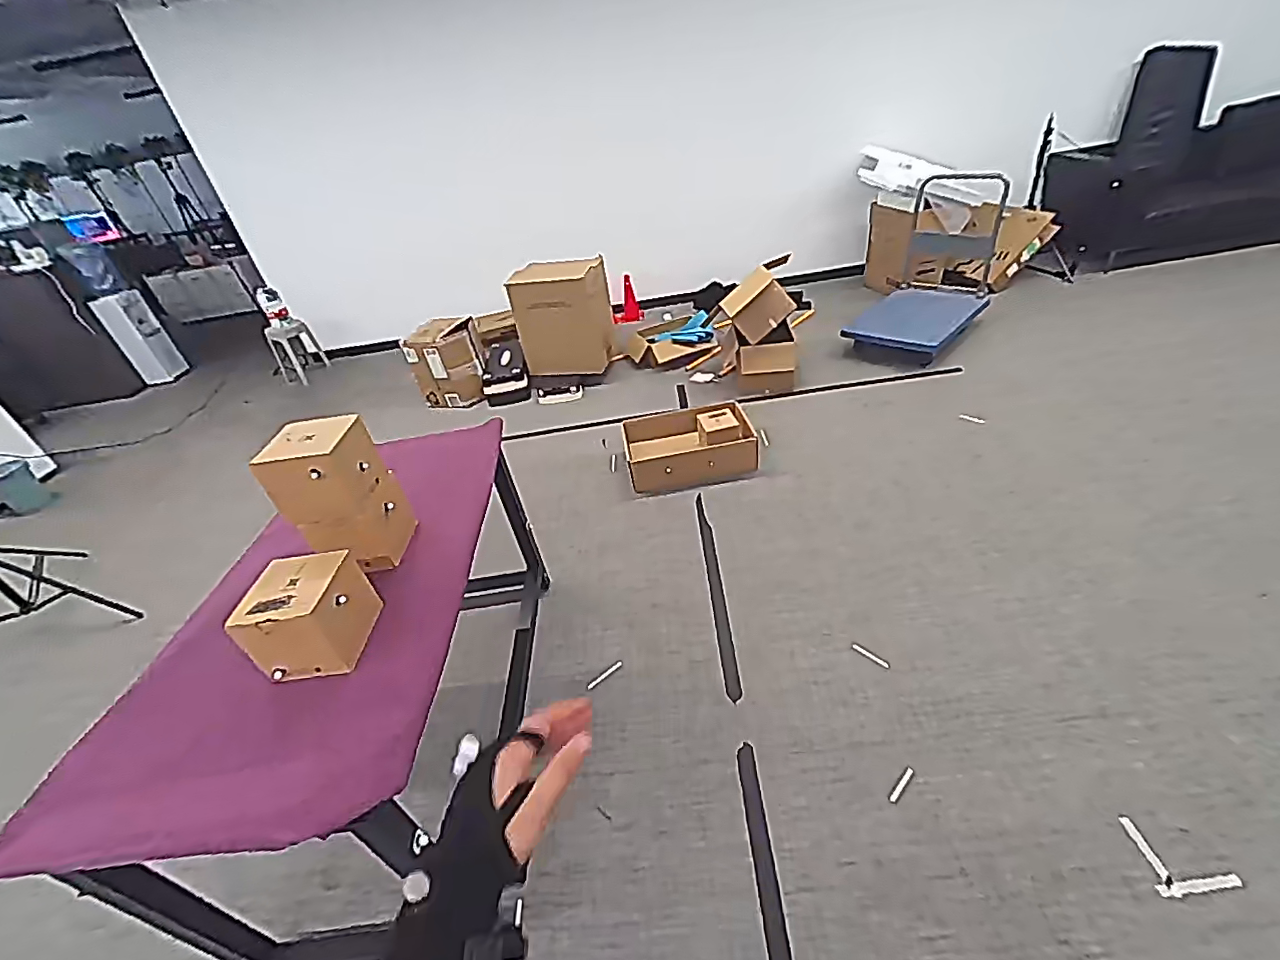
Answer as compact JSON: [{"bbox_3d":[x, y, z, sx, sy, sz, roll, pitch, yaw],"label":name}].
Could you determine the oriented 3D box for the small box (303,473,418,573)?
[{"bbox_3d":[-0.664,0.107,1.312,0.168,0.176,0.179,-8,36,4],"label":"small box"}]

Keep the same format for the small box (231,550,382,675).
[{"bbox_3d":[-0.646,0.269,1.077,0.168,0.176,0.179,-8,34,3],"label":"small box"}]

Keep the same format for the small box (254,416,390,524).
[{"bbox_3d":[-0.696,-0.021,1.212,0.179,0.176,0.168,-8,35,4],"label":"small box"}]
